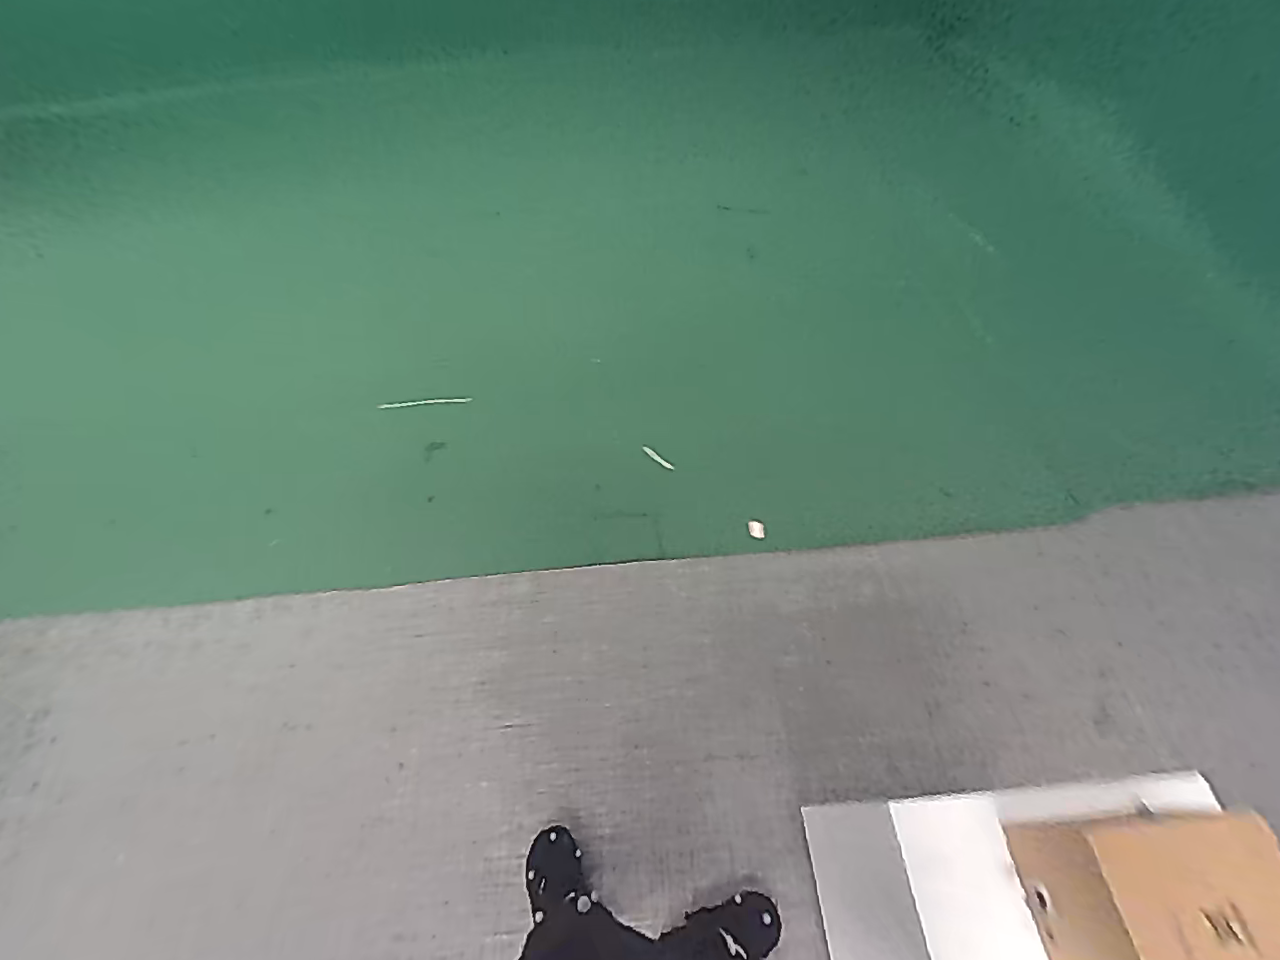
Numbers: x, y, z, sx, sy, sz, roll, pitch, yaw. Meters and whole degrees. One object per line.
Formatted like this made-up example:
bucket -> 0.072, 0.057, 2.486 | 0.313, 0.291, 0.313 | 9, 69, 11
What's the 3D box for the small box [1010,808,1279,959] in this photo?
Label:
small box -> 0.532, 0.438, 0.550 | 0.179, 0.176, 0.168 | -8, 58, 2
